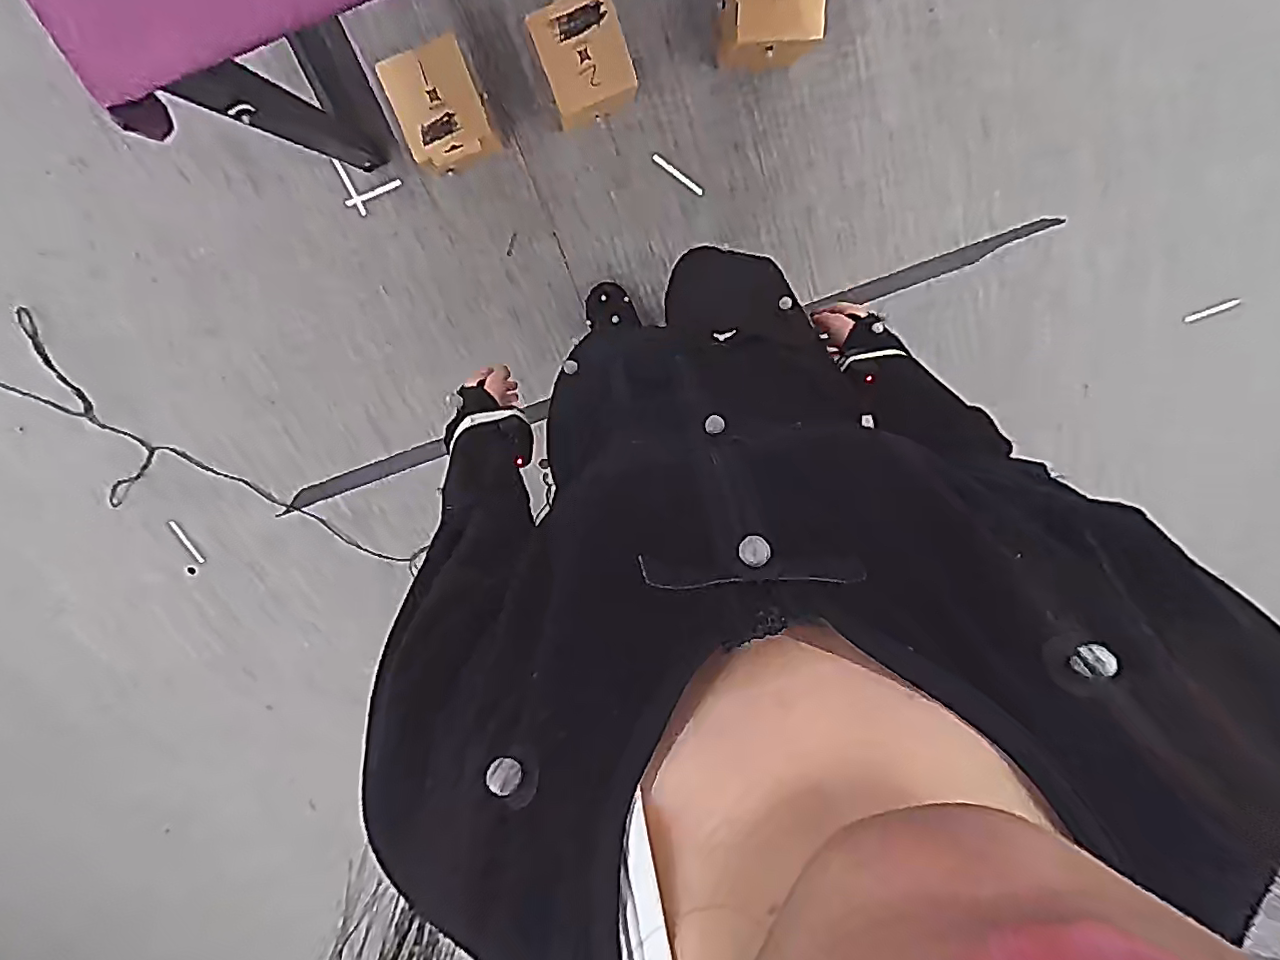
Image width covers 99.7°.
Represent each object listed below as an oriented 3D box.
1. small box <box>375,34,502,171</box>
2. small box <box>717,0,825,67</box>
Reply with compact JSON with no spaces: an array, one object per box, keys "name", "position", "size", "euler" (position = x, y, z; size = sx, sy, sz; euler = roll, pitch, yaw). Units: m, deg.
[{"name":"small box","position":[-0.400,-0.760,1.113],"size":[0.168,0.176,0.179],"euler":[-20,112,2]},{"name":"small box","position":[0.260,-0.963,1.097],"size":[0.179,0.176,0.168],"euler":[-5,113,-3]}]
